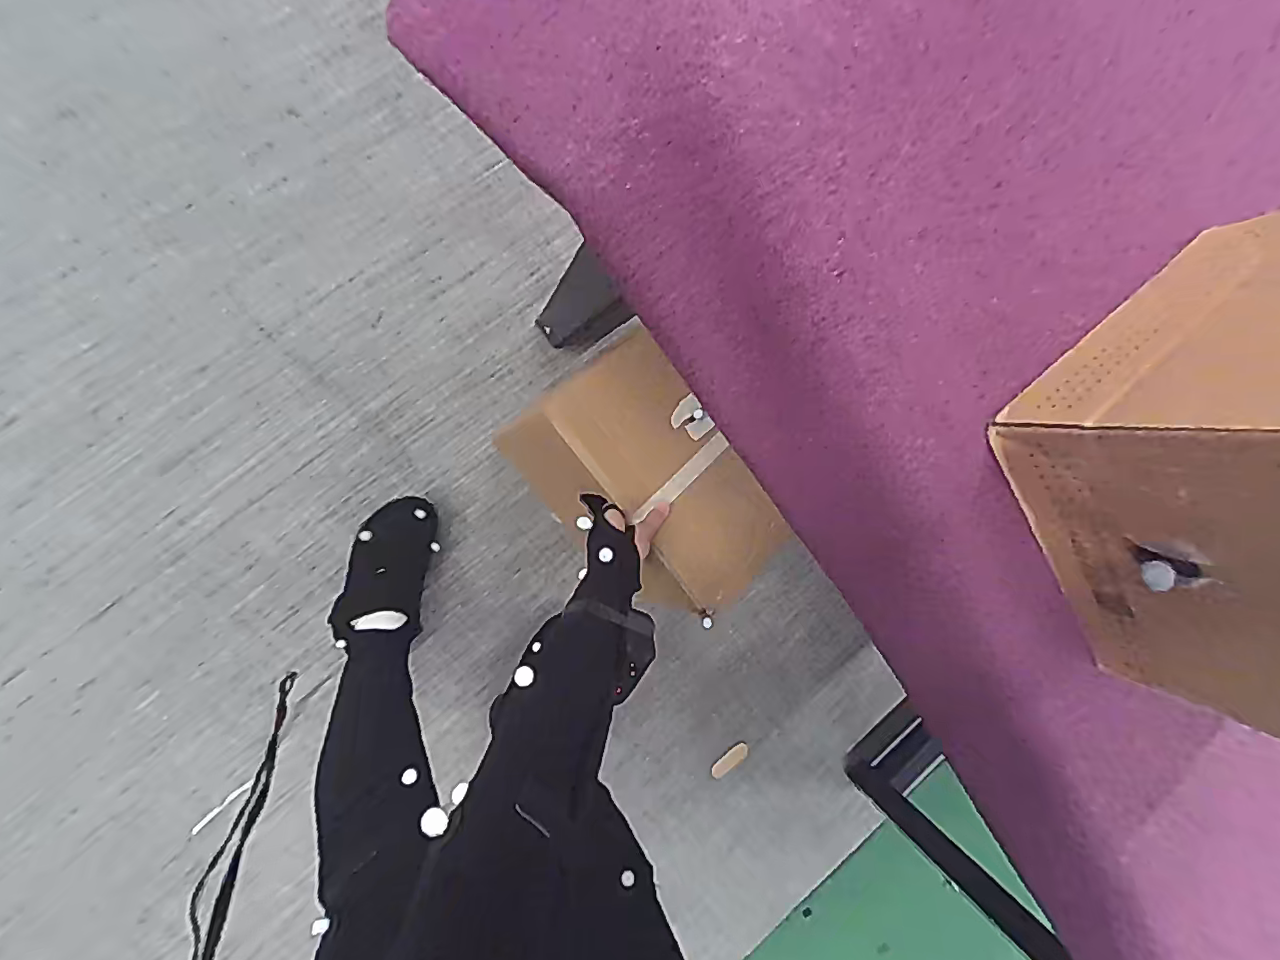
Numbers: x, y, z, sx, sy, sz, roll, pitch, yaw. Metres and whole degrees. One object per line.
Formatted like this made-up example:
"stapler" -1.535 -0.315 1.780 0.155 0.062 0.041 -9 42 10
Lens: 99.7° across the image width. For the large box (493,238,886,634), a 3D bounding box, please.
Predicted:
"large box" 0.060 -0.061 0.784 0.408 0.320 0.320 -43 104 -20
